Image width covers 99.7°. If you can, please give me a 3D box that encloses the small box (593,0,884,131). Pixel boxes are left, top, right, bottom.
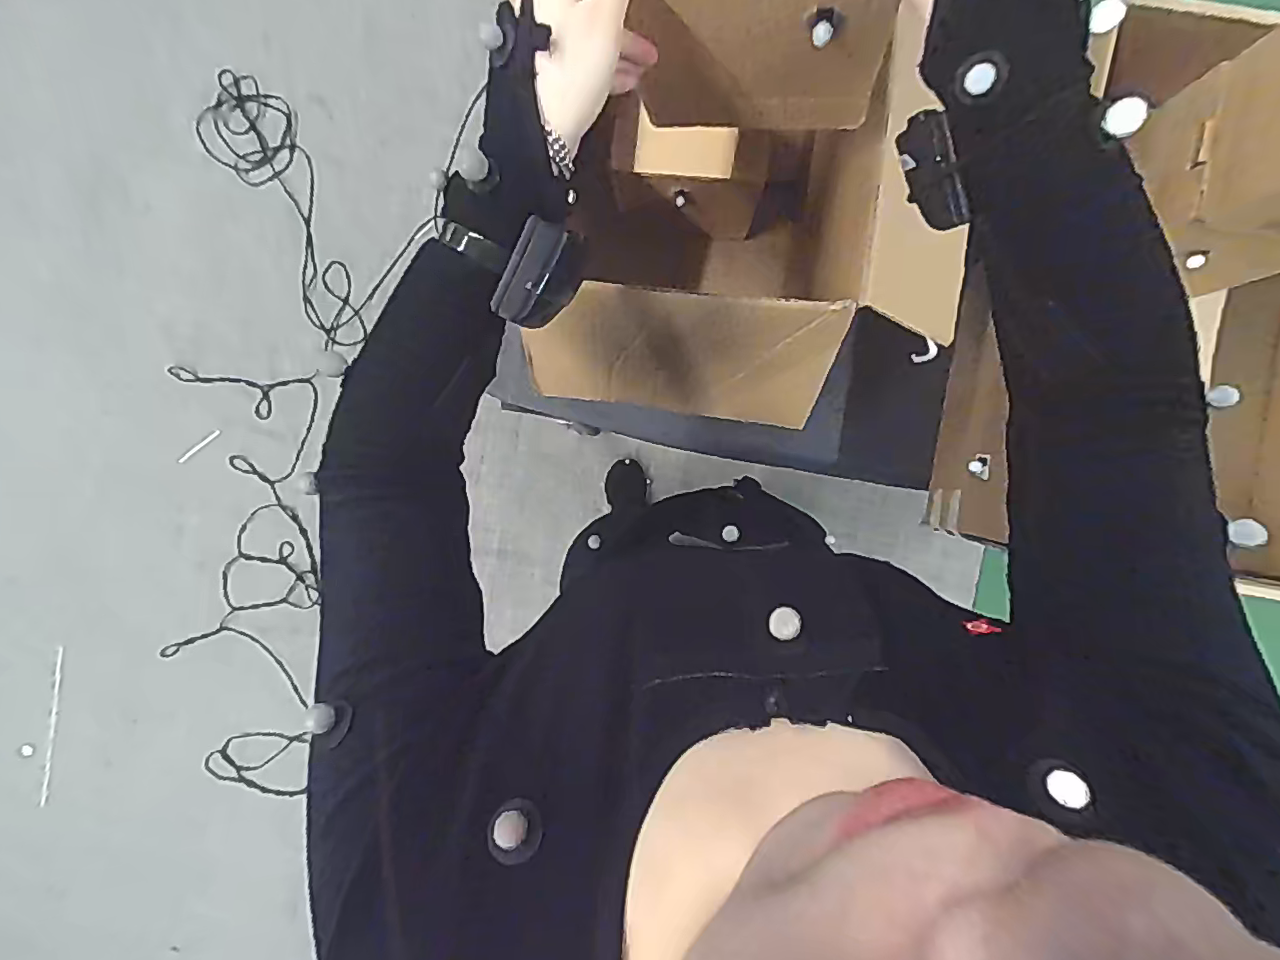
[{"bbox_3d":[0.077,-0.363,0.367,0.179,0.176,0.168,7,100,11],"label":"small box"}]

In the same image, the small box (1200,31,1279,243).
[{"bbox_3d":[0.661,-0.327,0.472,0.168,0.176,0.179,9,93,0],"label":"small box"}]
